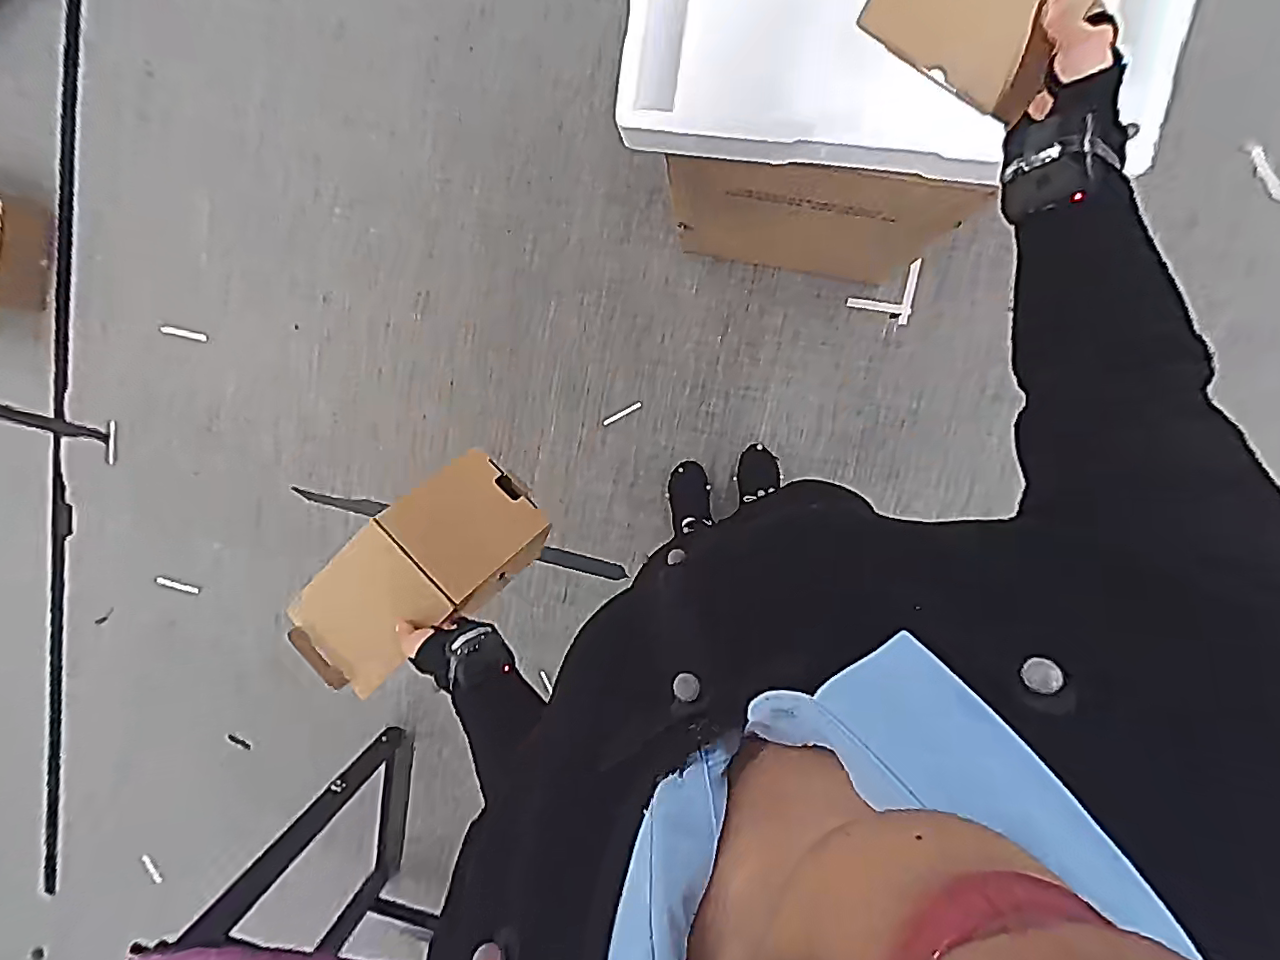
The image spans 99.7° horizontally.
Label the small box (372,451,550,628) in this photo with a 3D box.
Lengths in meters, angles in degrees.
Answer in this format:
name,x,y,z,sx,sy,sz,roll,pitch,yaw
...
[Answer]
name,x,y,z,sx,sy,sz,roll,pitch,yaw
small box,-0.259,0.096,0.804,0.168,0.176,0.179,44,61,6
